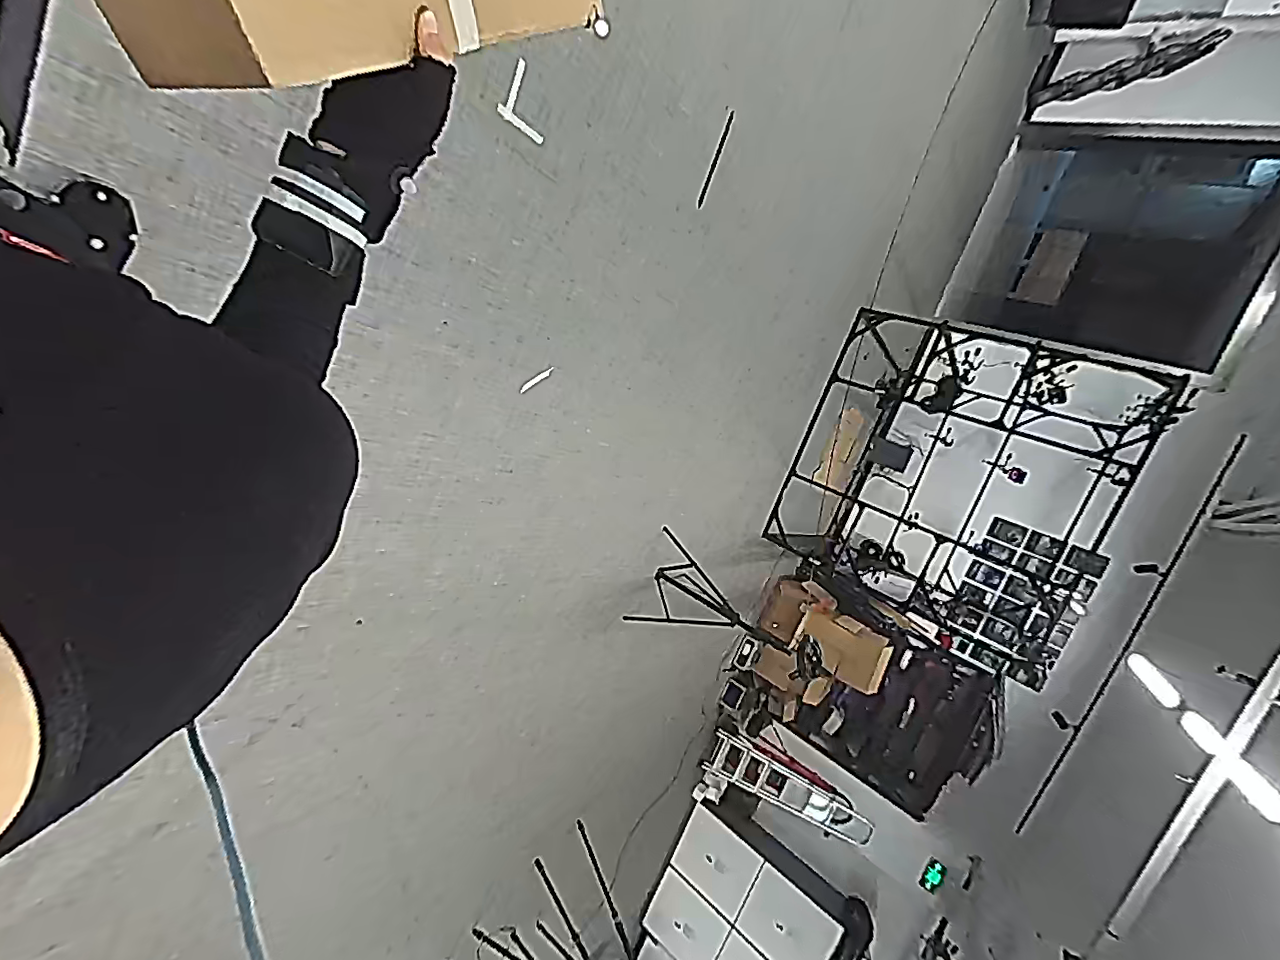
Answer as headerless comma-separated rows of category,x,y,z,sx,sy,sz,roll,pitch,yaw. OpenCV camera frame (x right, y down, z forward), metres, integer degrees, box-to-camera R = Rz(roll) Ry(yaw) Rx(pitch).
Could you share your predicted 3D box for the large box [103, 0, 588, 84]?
large box,-0.282,-0.552,0.373,0.320,0.320,0.408,-41,142,-29
